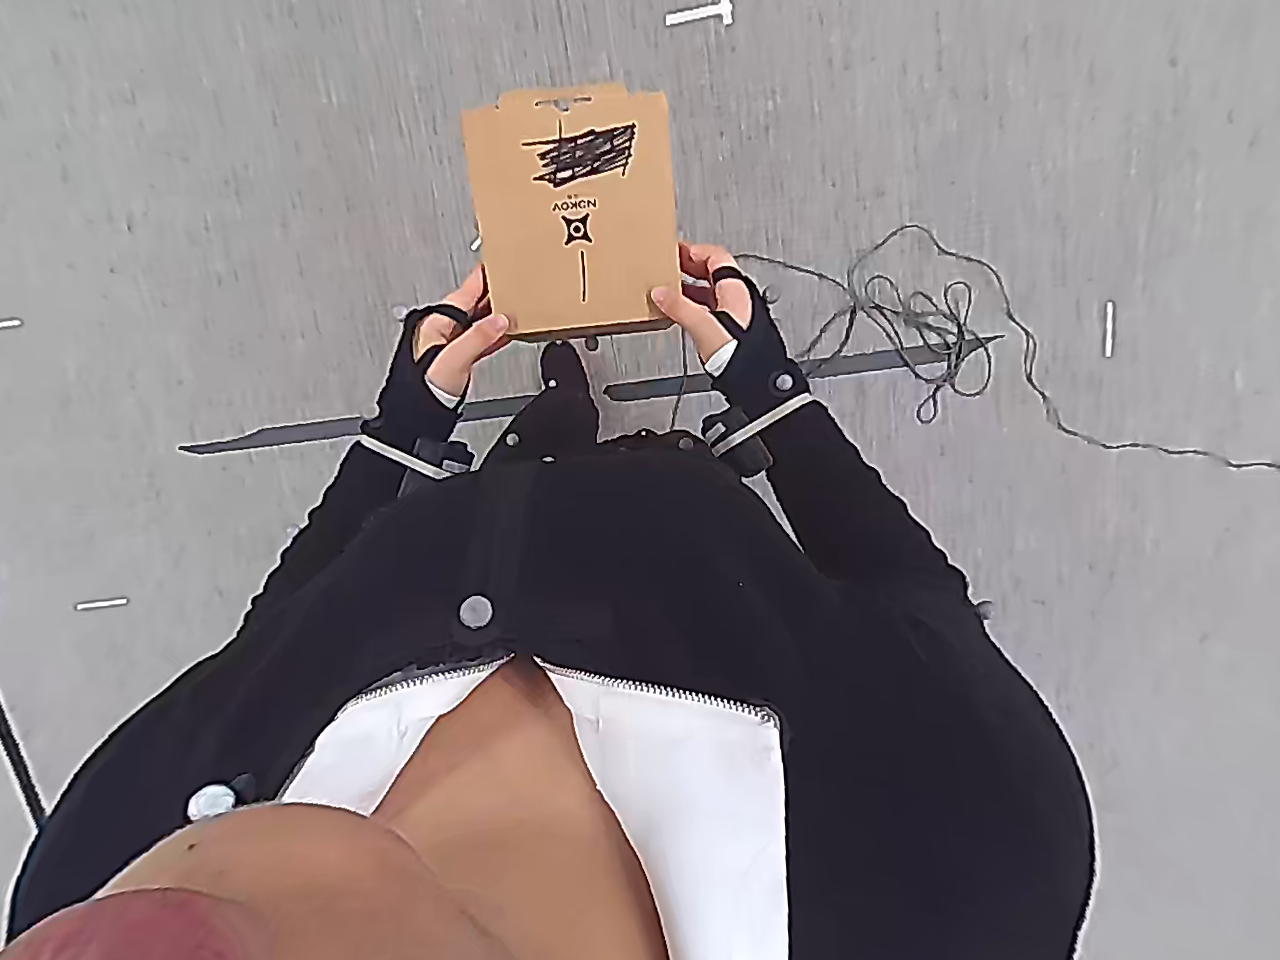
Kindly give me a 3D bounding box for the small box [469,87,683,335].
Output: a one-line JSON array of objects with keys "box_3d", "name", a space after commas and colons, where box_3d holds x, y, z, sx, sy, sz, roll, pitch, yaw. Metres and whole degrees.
[{"box_3d": [-0.054, -0.243, 0.531, 0.168, 0.176, 0.179, -6, 102, -1], "name": "small box"}]
